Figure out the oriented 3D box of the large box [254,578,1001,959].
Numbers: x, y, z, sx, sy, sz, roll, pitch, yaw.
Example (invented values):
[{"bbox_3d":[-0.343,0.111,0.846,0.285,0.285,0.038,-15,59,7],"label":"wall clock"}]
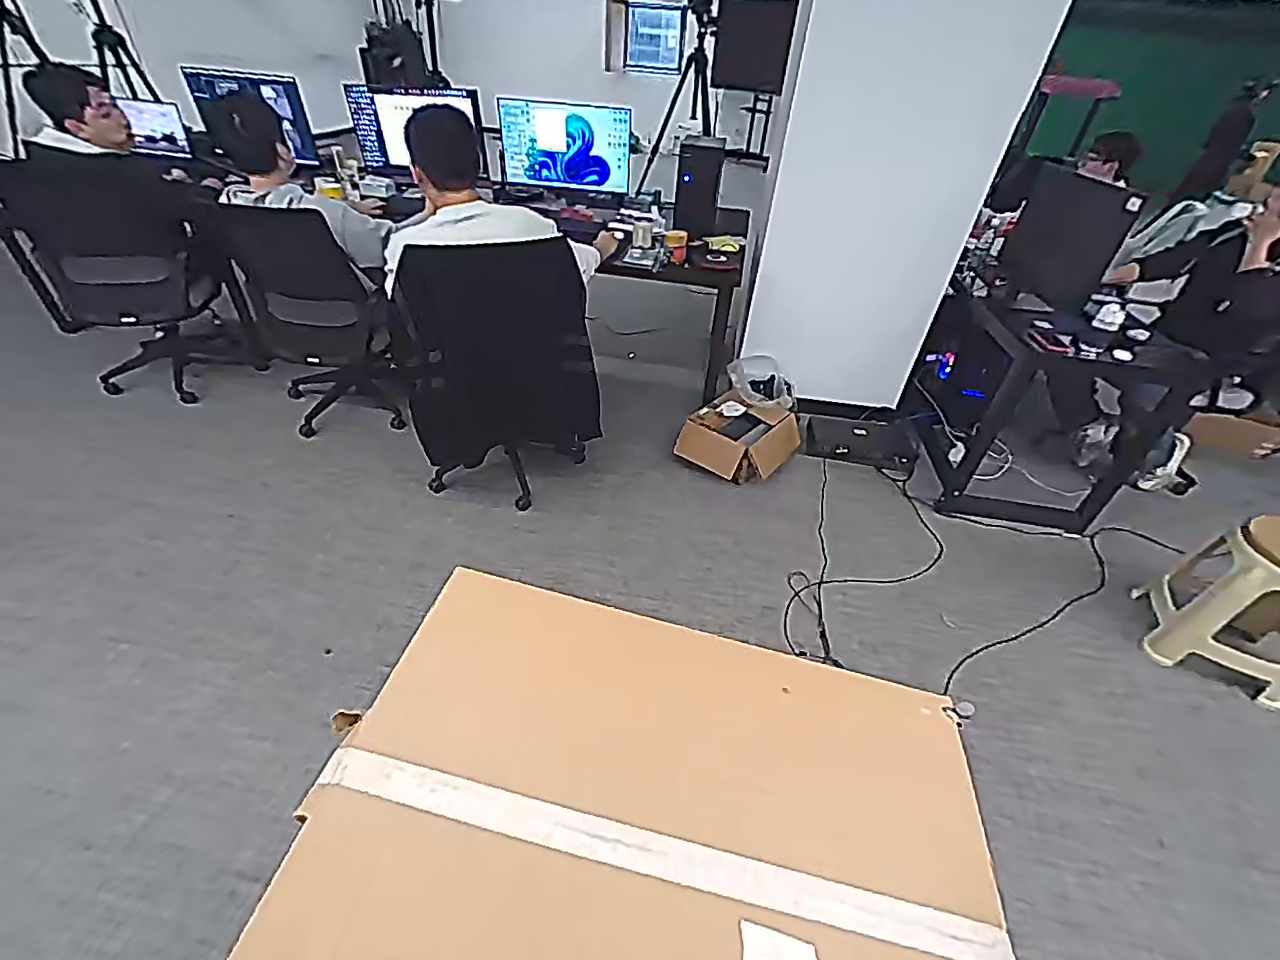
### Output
[{"bbox_3d":[-0.007,0.332,0.425,0.408,0.320,0.320,15,43,2],"label":"large box"}]
